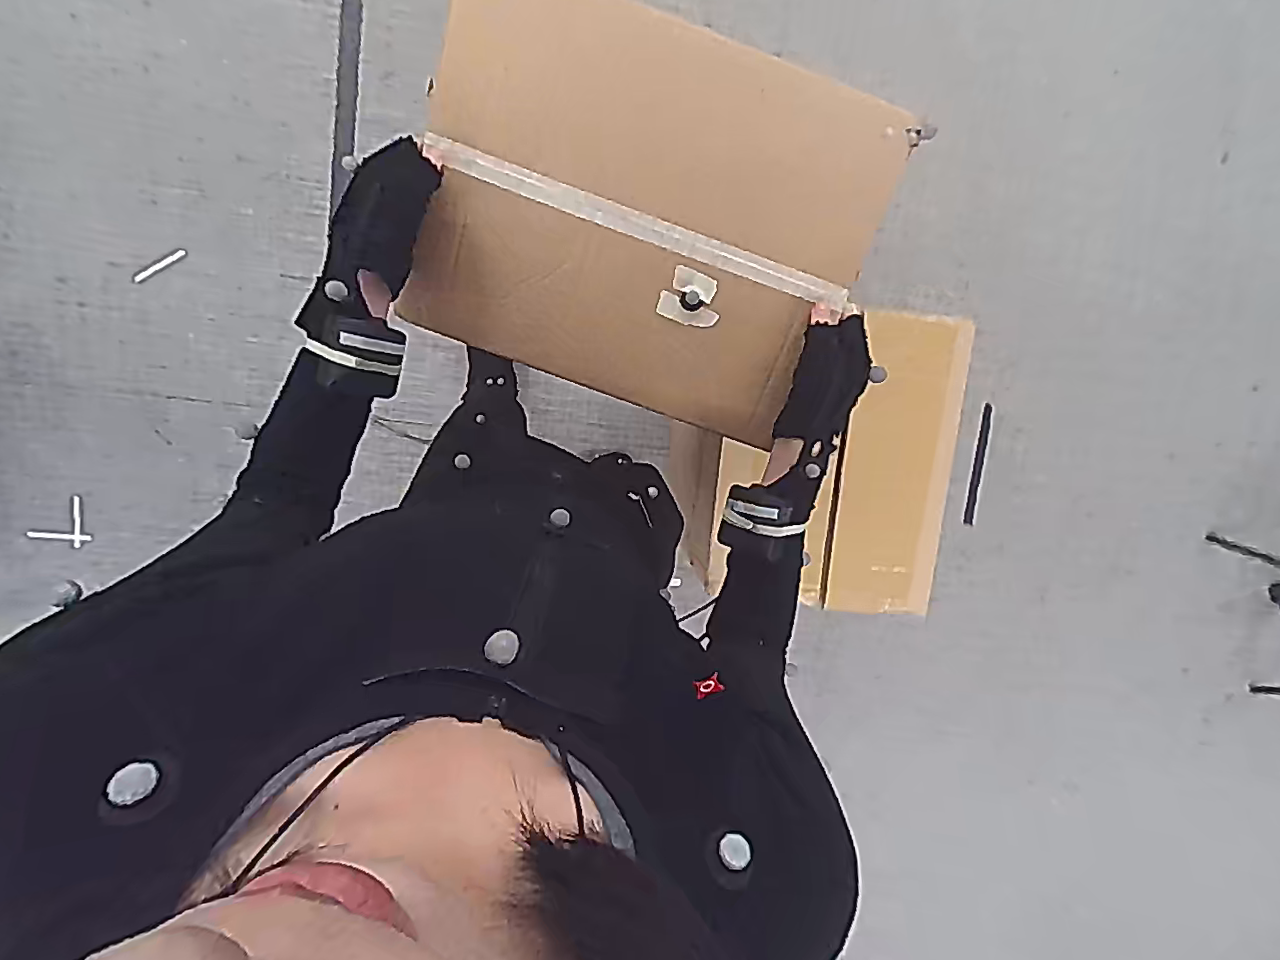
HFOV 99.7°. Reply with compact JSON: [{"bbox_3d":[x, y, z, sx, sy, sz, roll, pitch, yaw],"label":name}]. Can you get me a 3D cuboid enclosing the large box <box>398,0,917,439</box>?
[{"bbox_3d":[0.004,-0.278,0.627,0.408,0.320,0.320,18,108,-4],"label":"large box"}]
